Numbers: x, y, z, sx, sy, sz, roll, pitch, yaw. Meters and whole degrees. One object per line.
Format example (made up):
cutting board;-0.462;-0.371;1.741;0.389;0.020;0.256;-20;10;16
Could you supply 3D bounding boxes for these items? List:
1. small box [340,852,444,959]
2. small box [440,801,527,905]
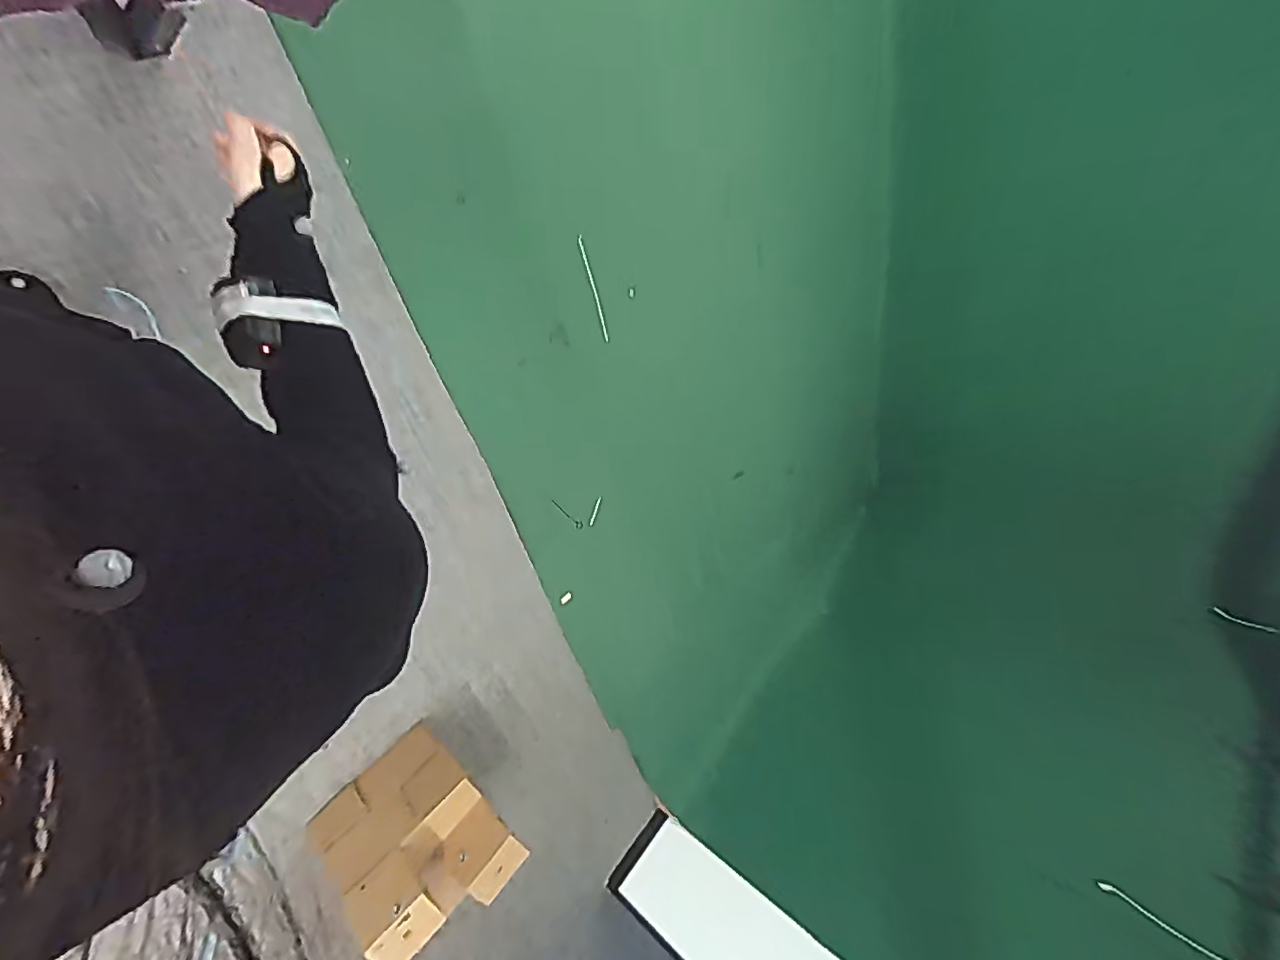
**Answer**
small box;-0.665;1.154;1.451;0.168;0.176;0.179;-37;131;-33
small box;-0.485;1.137;1.656;0.179;0.176;0.168;-44;135;-30
